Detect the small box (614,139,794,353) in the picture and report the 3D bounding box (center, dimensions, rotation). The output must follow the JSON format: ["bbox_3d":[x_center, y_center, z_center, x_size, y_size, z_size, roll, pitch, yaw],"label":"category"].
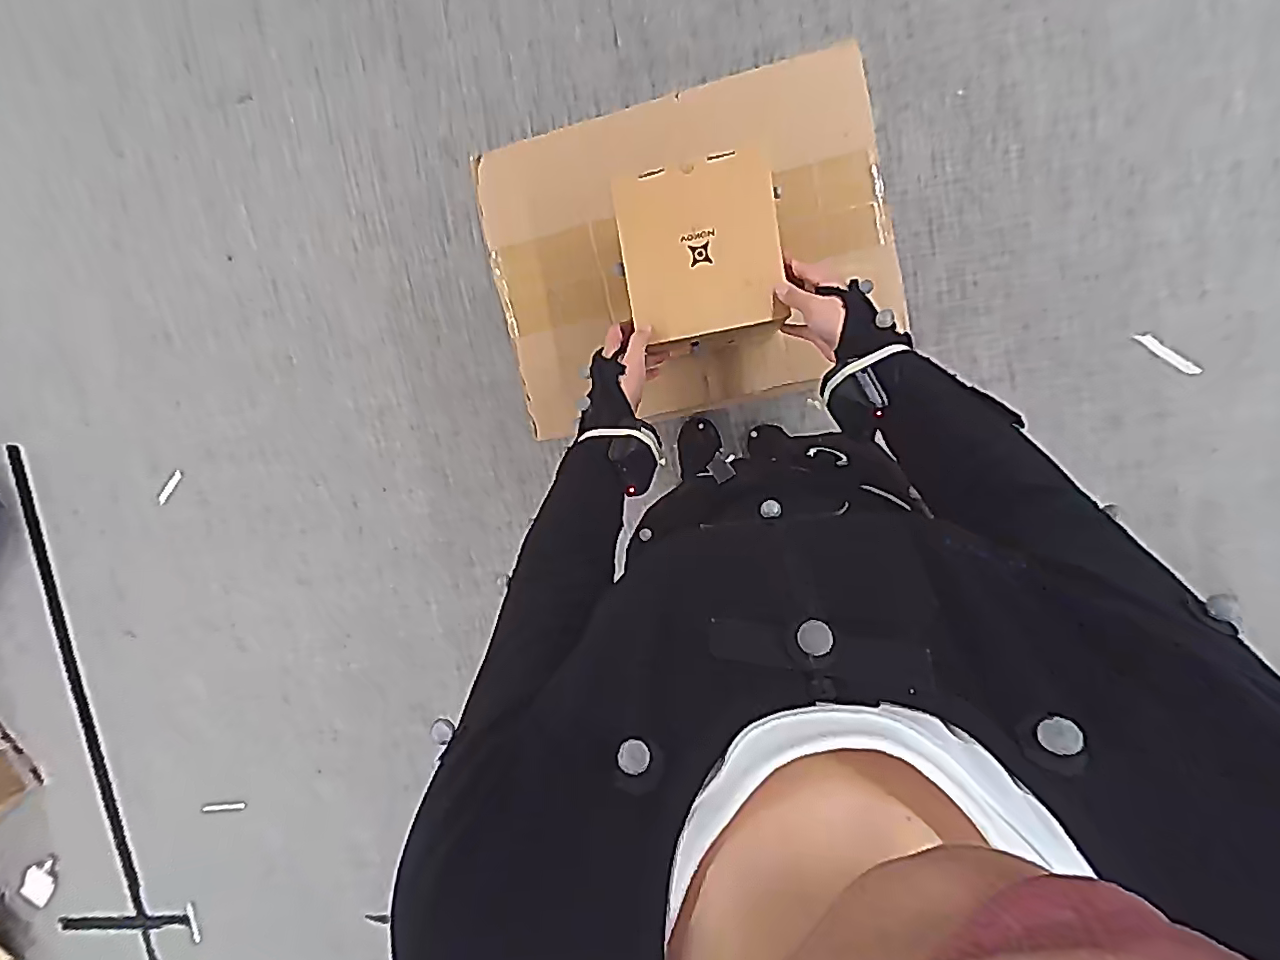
[{"bbox_3d":[0.078,-0.251,0.634,0.168,0.176,0.179,-9,95,9],"label":"small box"}]
